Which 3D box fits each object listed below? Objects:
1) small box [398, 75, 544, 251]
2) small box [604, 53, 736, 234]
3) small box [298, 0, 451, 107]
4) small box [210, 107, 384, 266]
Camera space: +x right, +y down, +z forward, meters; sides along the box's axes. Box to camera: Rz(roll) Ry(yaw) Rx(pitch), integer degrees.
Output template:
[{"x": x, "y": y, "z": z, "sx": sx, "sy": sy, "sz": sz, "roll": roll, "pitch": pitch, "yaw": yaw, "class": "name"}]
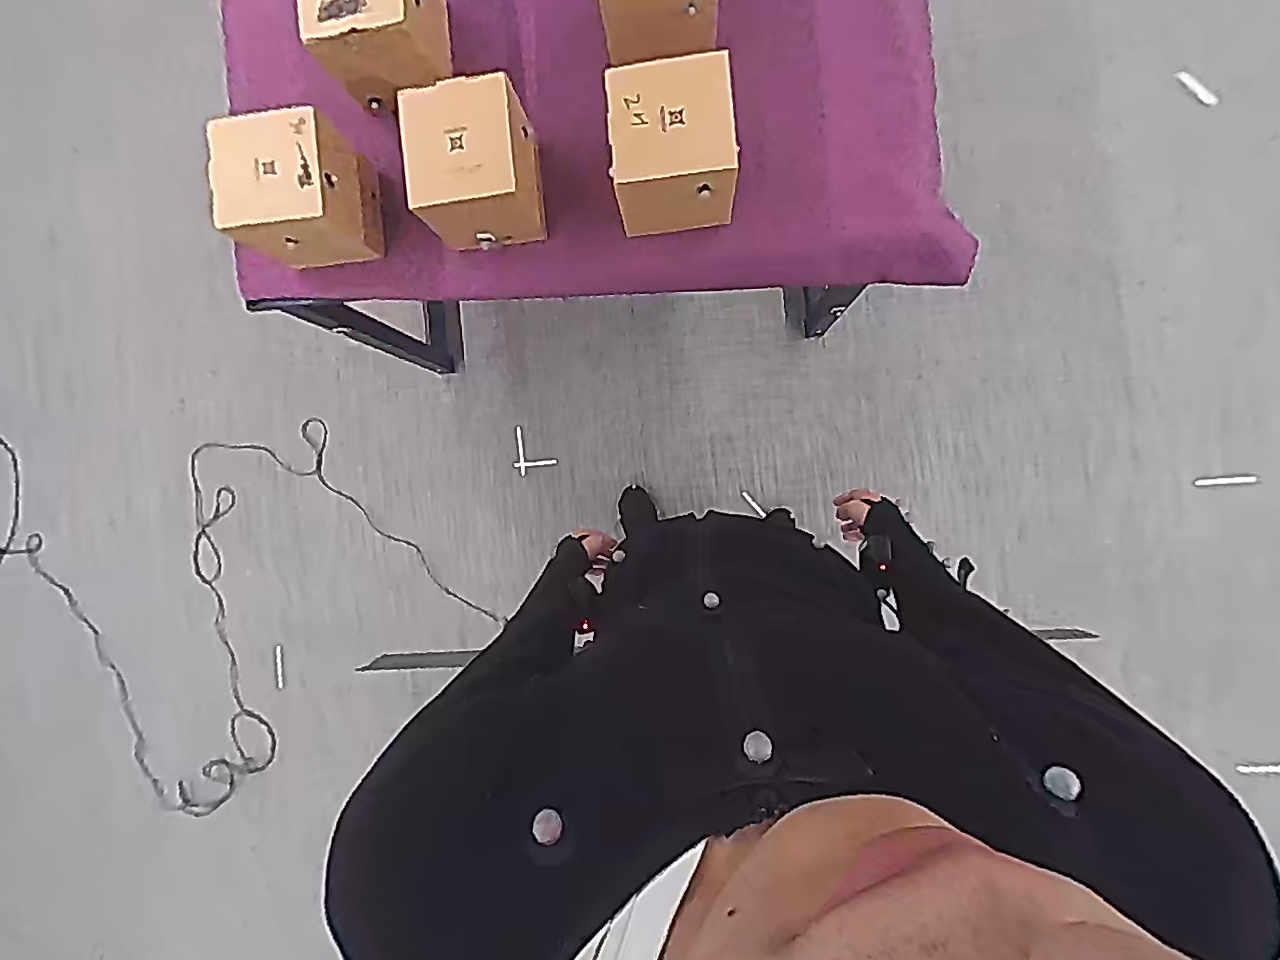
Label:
[{"x": -0.259, "y": -0.492, "z": 0.864, "sx": 0.168, "sy": 0.176, "sz": 0.179, "roll": -5, "pitch": 92, "yaw": 6, "class": "small box"}, {"x": 0.048, "y": -0.501, "z": 0.831, "sx": 0.179, "sy": 0.176, "sz": 0.168, "roll": -5, "pitch": 89, "yaw": 6, "class": "small box"}, {"x": -0.422, "y": -0.743, "z": 0.877, "sx": 0.168, "sy": 0.176, "sz": 0.179, "roll": -5, "pitch": 90, "yaw": 5, "class": "small box"}, {"x": -0.553, "y": -0.467, "z": 0.889, "sx": 0.179, "sy": 0.176, "sz": 0.168, "roll": -4, "pitch": 91, "yaw": 6, "class": "small box"}]
